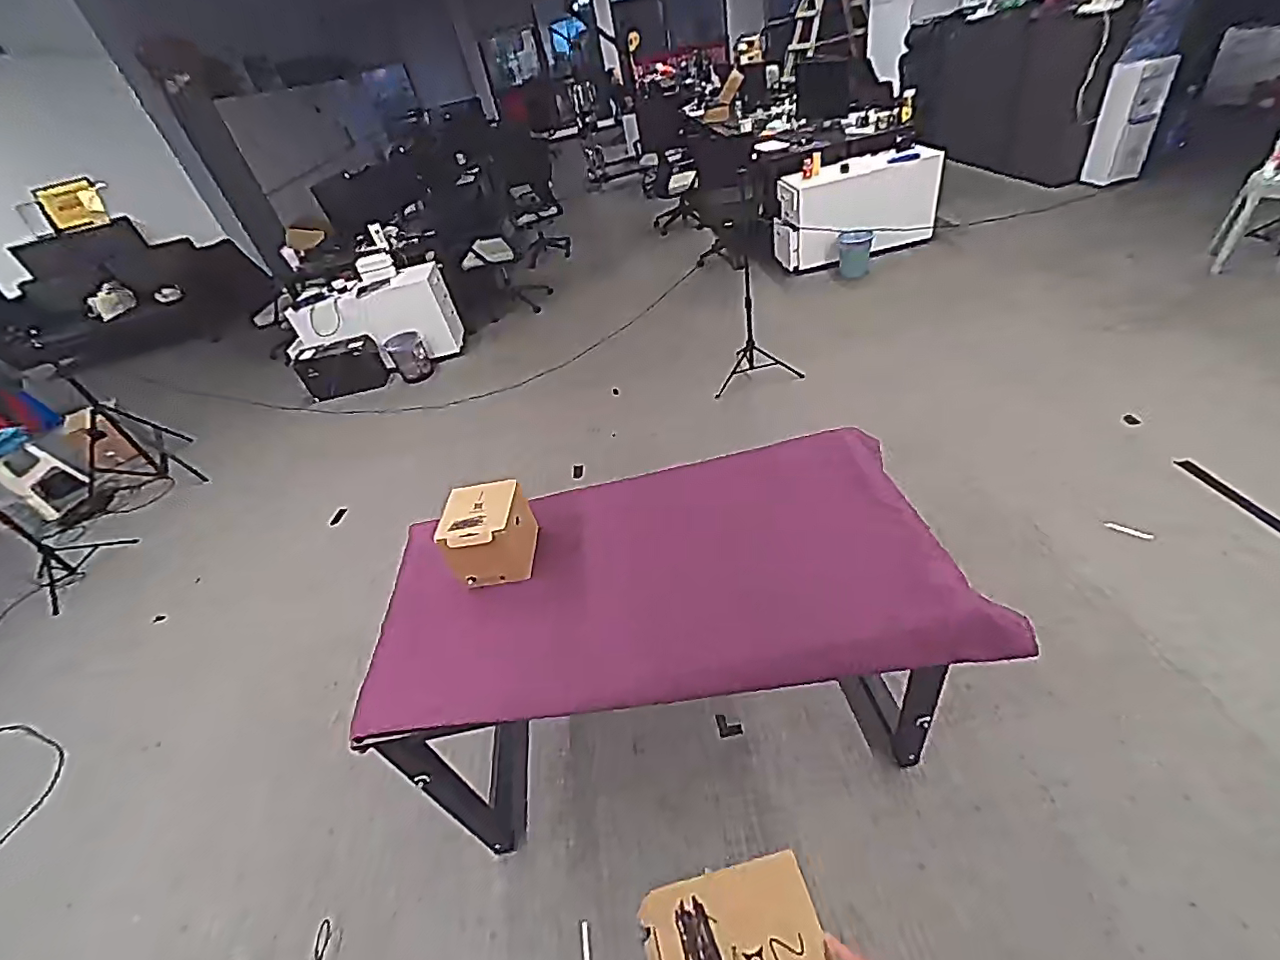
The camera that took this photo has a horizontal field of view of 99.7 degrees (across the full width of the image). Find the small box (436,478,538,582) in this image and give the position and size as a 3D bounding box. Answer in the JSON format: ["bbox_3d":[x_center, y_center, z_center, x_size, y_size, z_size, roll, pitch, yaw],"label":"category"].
[{"bbox_3d":[-0.349,0.124,1.272,0.168,0.176,0.179,-9,40,6],"label":"small box"}]
